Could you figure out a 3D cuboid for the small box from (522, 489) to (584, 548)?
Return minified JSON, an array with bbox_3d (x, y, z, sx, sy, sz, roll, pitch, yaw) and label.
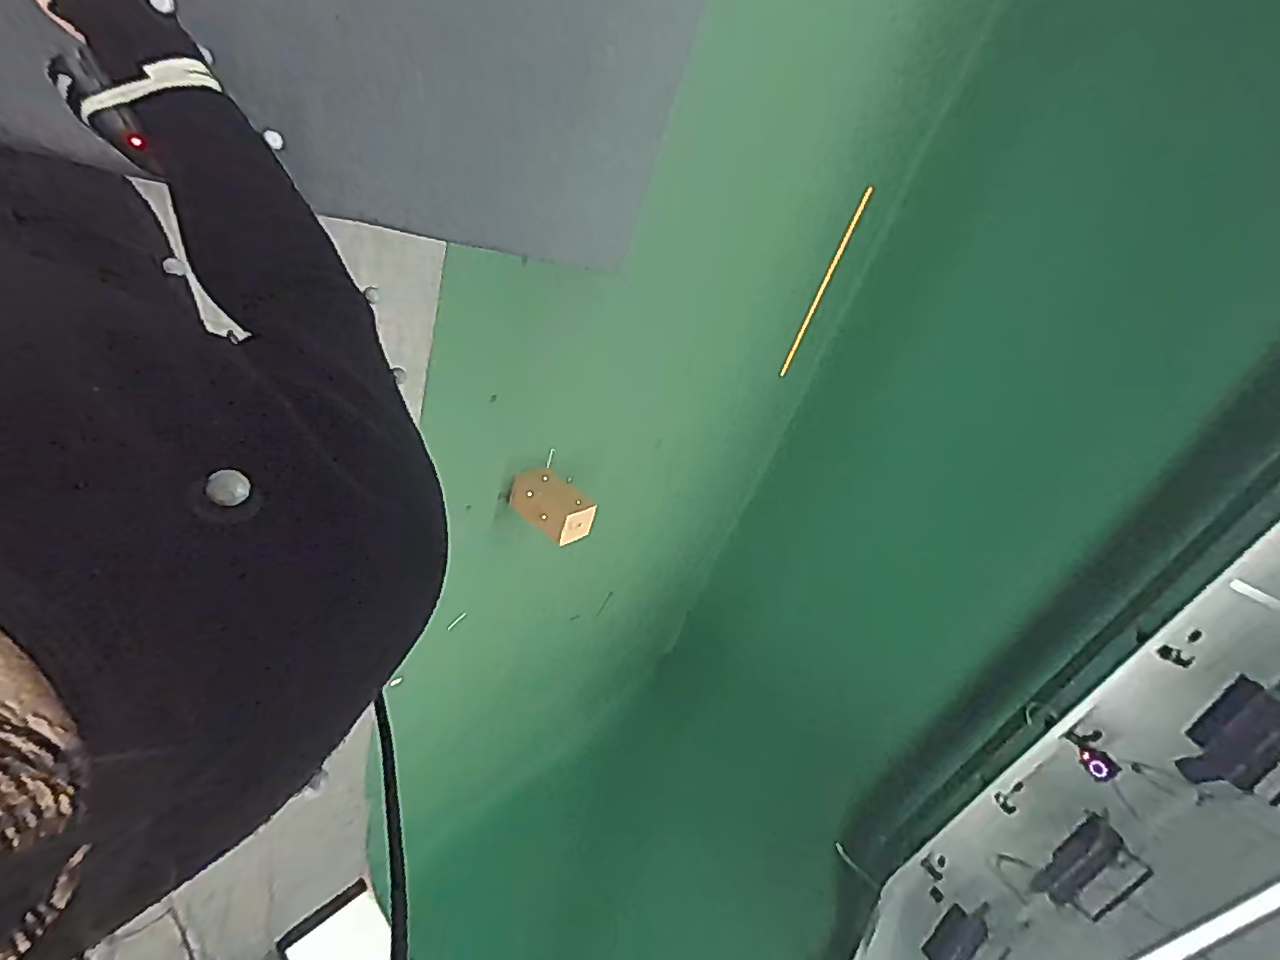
[{"bbox_3d":[-0.370,0.157,2.297,0.179,0.176,0.168,-19,137,-49],"label":"small box"}]
